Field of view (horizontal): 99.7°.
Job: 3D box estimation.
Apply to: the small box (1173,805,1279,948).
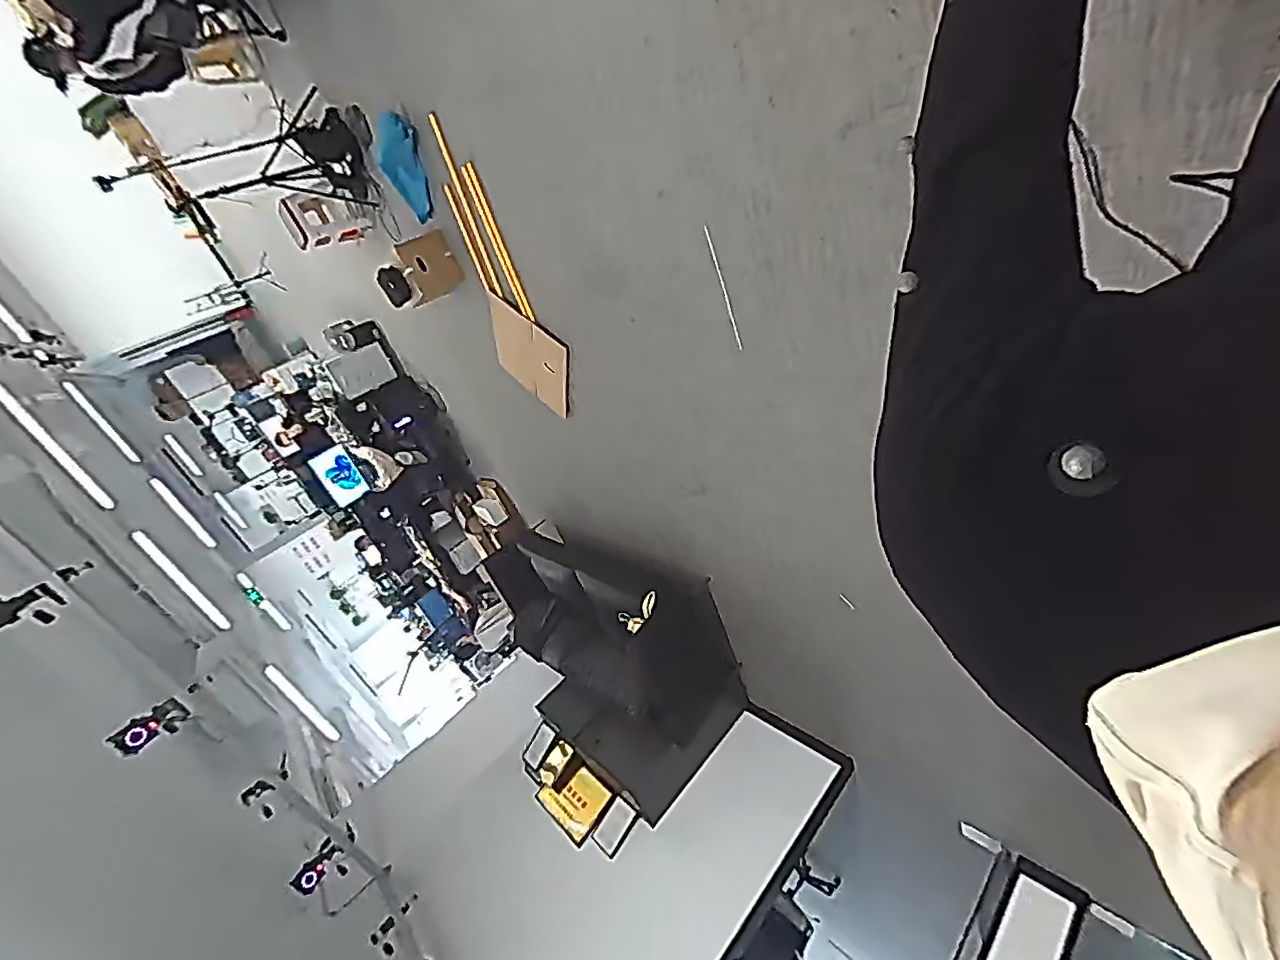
[{"bbox_3d":[1.353,0.890,1.229,0.168,0.176,0.179,0,124,56],"label":"small box"}]
